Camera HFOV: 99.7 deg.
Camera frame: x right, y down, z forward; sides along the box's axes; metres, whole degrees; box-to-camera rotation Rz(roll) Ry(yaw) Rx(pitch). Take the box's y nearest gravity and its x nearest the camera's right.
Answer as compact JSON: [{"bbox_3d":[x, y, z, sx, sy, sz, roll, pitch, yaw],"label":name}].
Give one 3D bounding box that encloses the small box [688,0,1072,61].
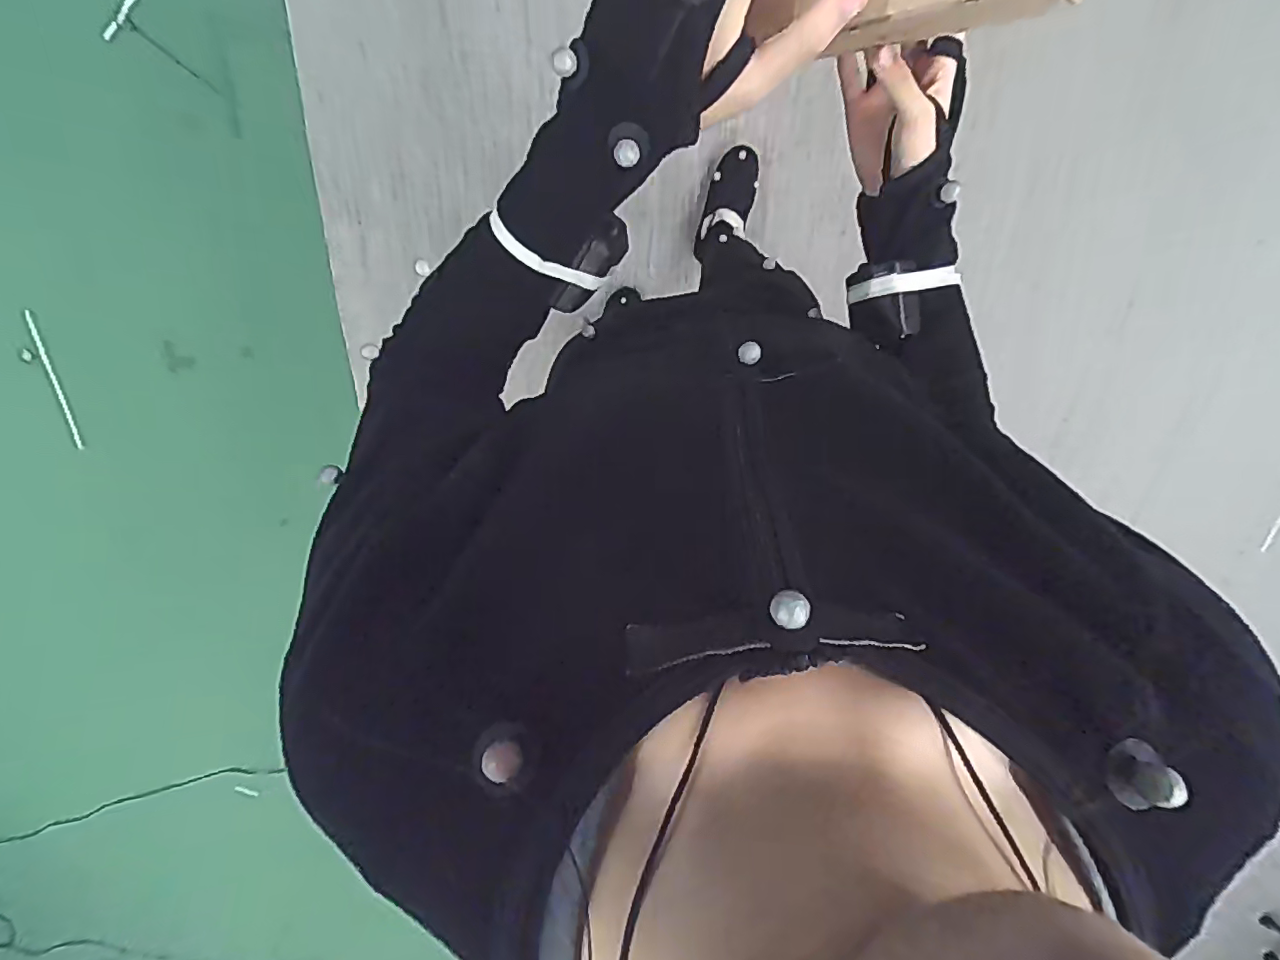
[{"bbox_3d":[0.130,-0.325,0.262,0.168,0.179,0.176,18,130,33],"label":"small box"}]
